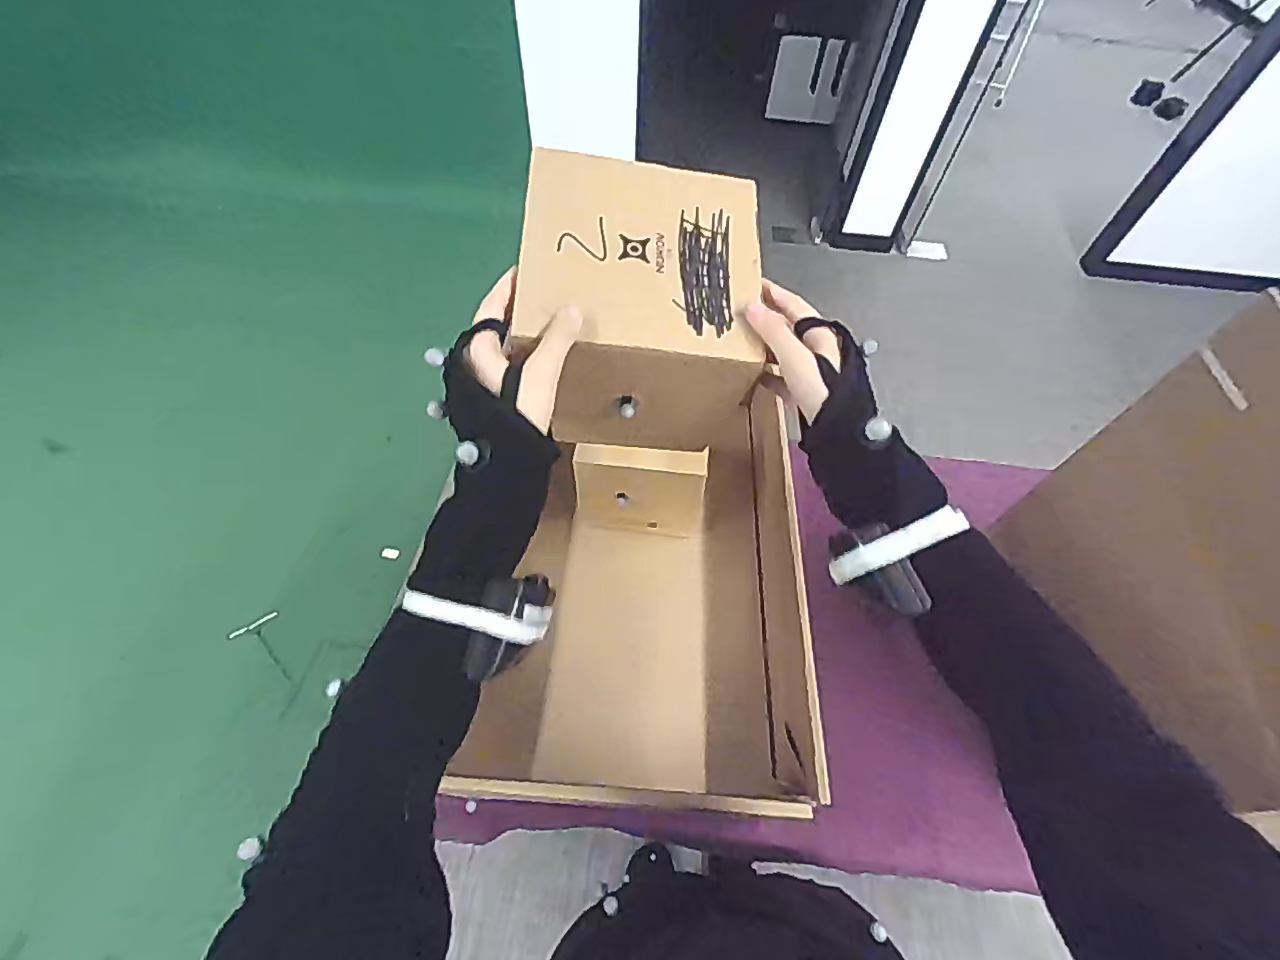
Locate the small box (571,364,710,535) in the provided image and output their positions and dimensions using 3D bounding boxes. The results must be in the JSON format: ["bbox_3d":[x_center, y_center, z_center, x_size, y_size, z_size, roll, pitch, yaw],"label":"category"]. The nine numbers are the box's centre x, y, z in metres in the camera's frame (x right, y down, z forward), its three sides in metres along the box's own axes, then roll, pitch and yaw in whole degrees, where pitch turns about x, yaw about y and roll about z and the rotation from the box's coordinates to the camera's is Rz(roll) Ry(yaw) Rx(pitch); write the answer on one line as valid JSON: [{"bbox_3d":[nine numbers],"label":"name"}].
[{"bbox_3d":[0.006,-0.037,0.767,0.168,0.176,0.179,6,56,3],"label":"small box"}]
